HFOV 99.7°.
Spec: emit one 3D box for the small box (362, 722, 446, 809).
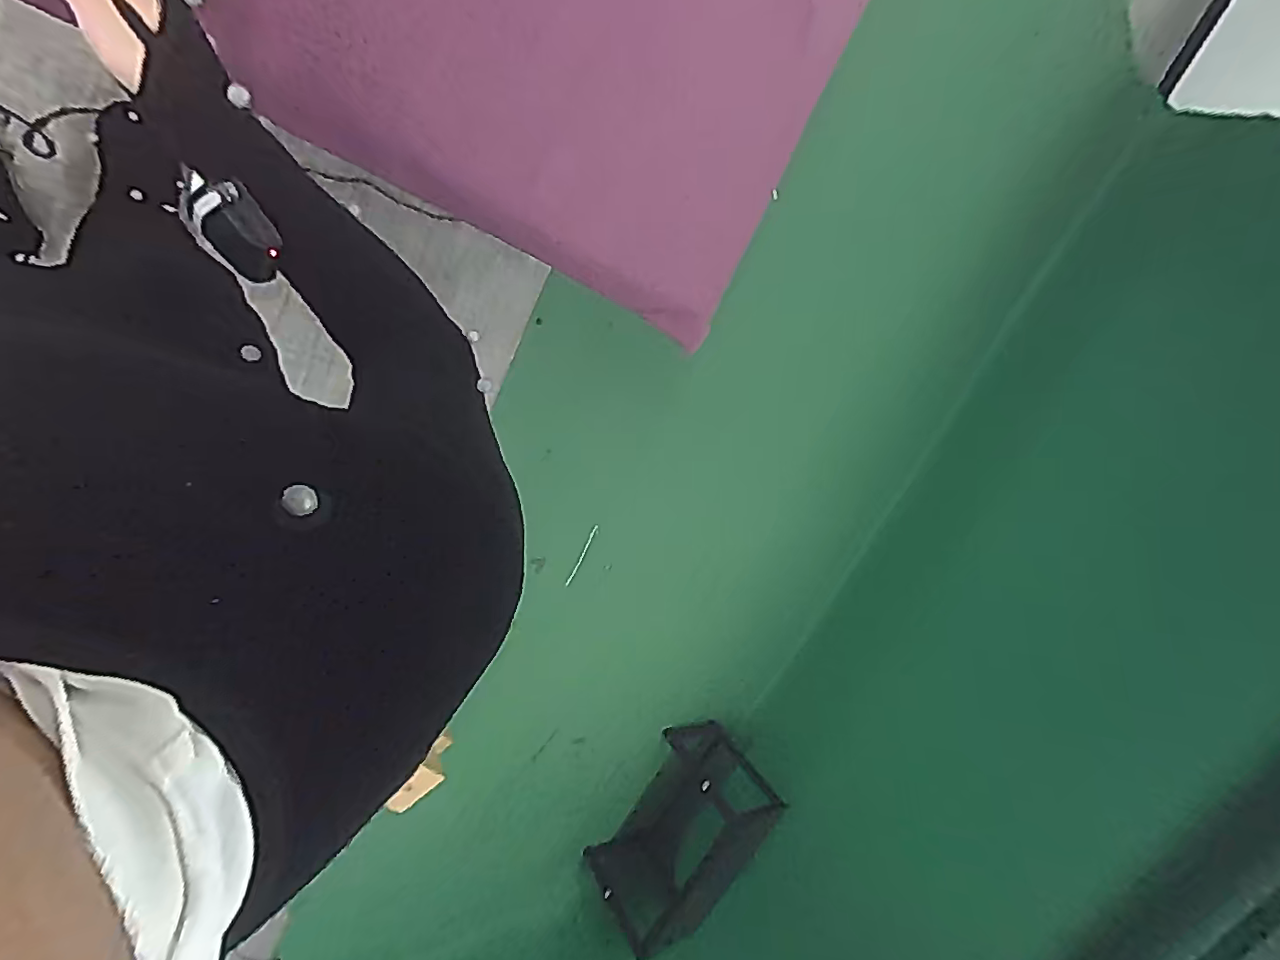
[{"bbox_3d":[-0.773,0.924,1.763,0.168,0.176,0.179,-35,136,-13],"label":"small box"}]
